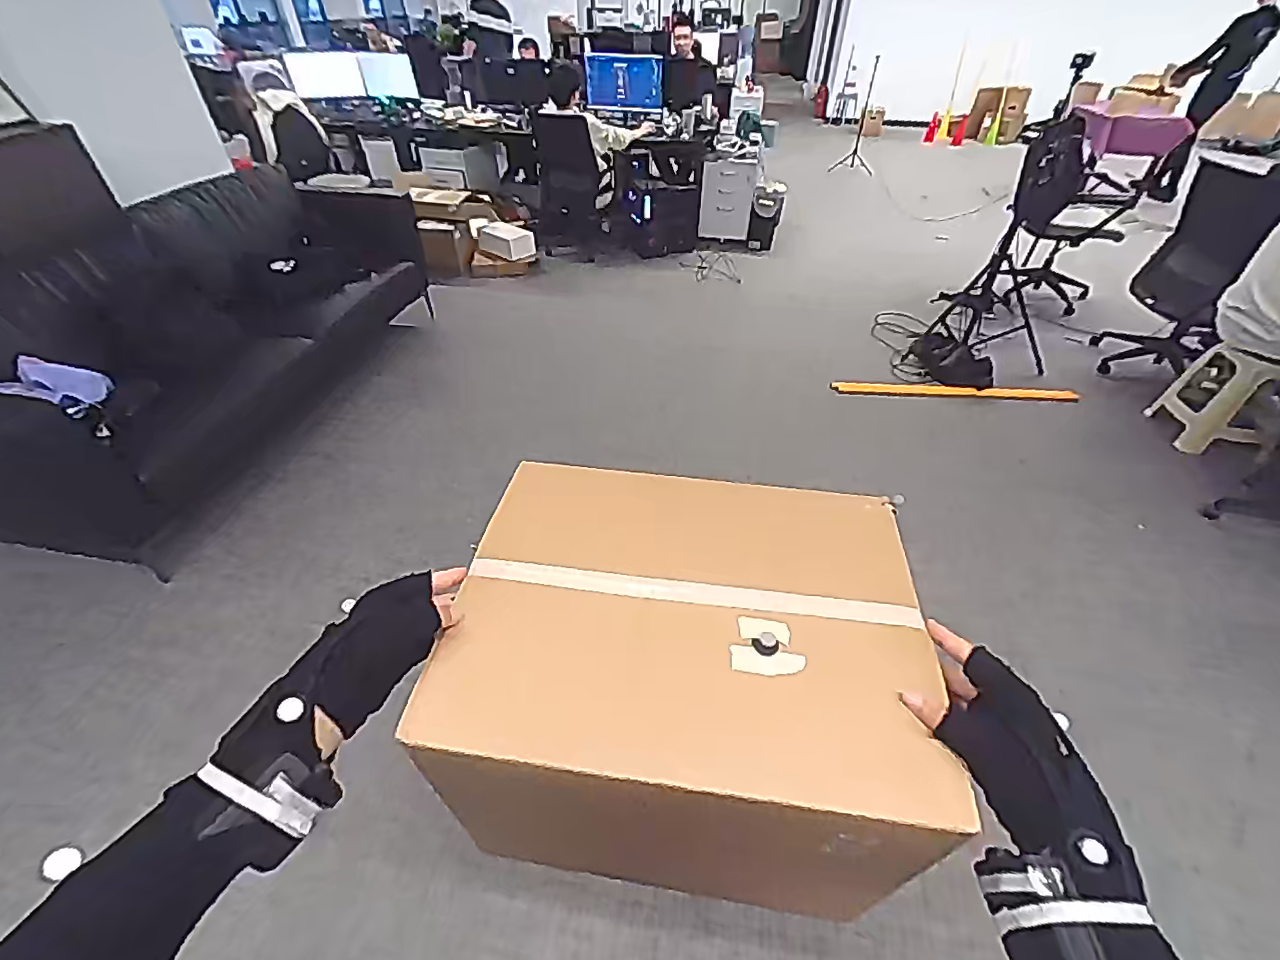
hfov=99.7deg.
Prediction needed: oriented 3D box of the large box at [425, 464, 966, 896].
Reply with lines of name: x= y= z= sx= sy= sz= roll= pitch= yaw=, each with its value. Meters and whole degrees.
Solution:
large box: x=0.046 y=0.212 z=0.597 sx=0.408 sy=0.320 sz=0.320 roll=7 pitch=44 yaw=5
